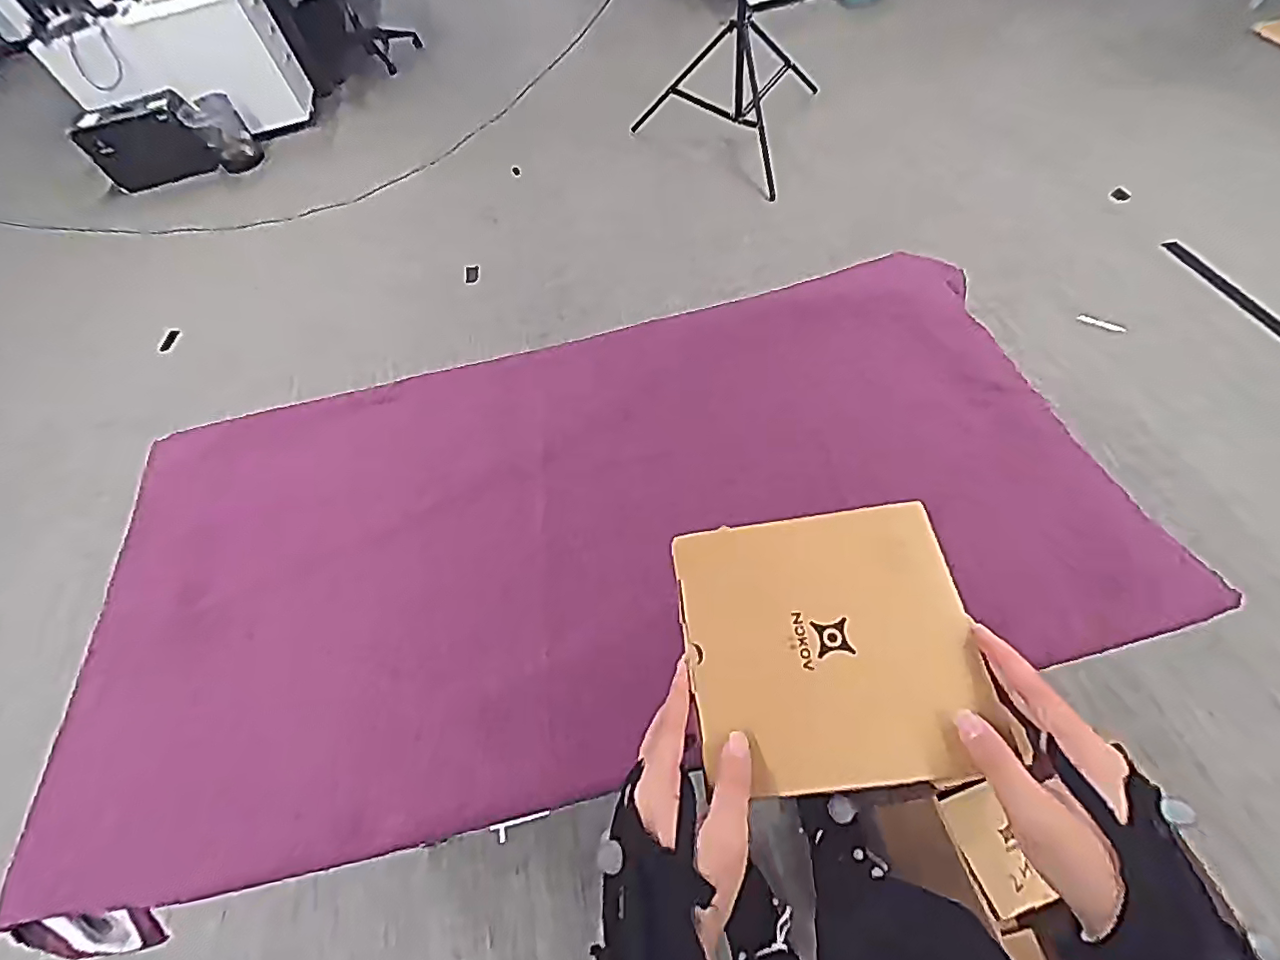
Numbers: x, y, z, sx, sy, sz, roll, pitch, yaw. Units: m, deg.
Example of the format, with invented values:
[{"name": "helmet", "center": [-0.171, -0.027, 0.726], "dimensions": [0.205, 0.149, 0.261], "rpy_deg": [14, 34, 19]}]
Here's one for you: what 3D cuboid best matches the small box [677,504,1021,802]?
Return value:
[{"name": "small box", "center": [0.129, 0.136, 0.409], "dimensions": [0.179, 0.176, 0.168], "rpy_deg": [-10, 61, 5]}]
